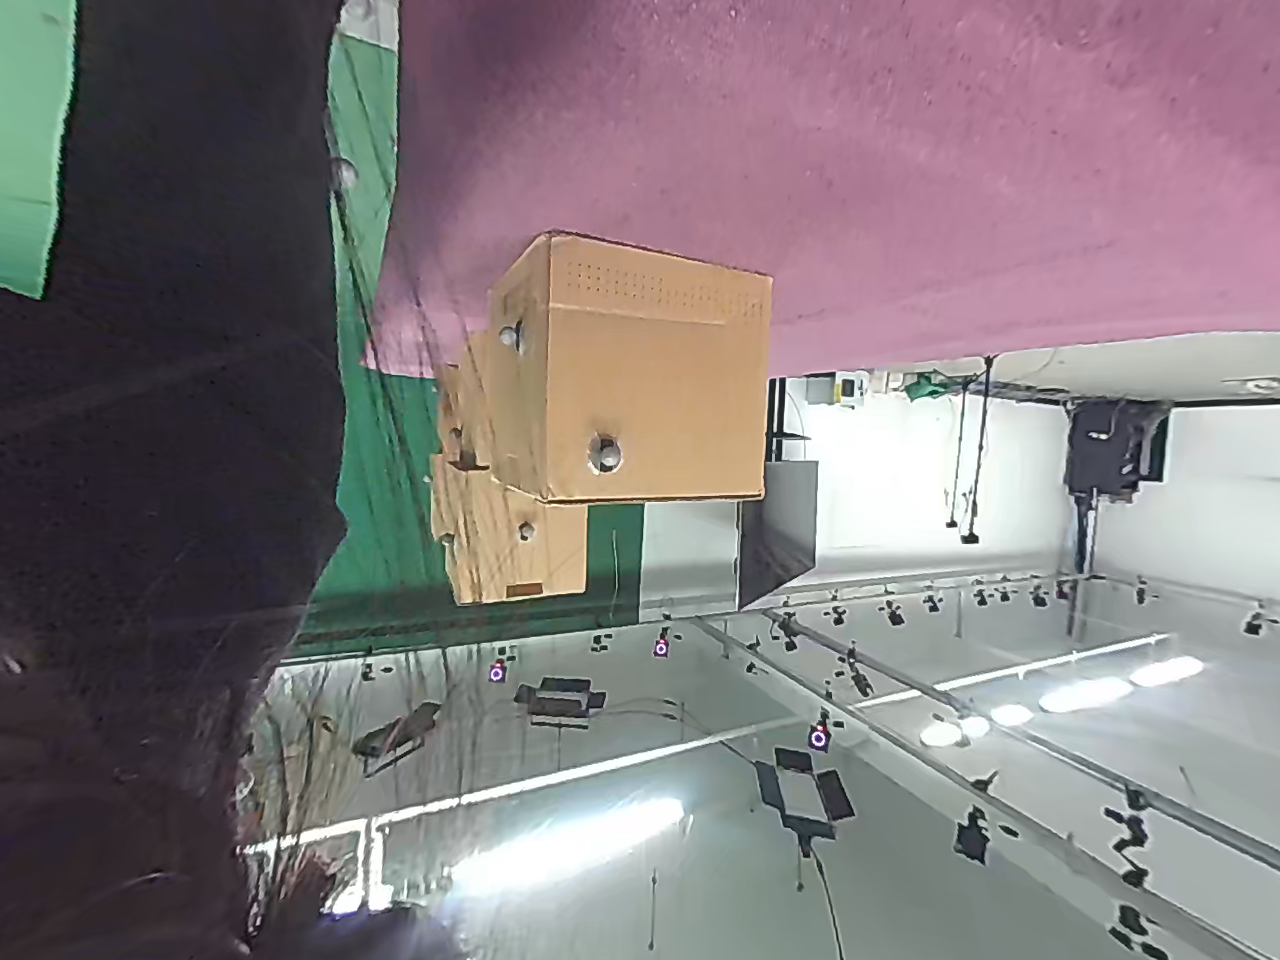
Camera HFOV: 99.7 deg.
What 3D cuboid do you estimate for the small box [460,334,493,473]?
[{"bbox_3d":[-0.154,-0.099,0.750,0.168,0.176,0.179,-1,-175,-25],"label":"small box"}]

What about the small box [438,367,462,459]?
[{"bbox_3d":[-0.305,-0.131,1.083,0.179,0.176,0.168,-1,-176,-24],"label":"small box"}]

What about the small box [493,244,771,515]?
[{"bbox_3d":[-0.013,-0.072,0.429,0.179,0.176,0.168,0,-175,-26],"label":"small box"}]

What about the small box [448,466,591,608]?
[{"bbox_3d":[-0.173,0.064,0.751,0.168,0.176,0.179,0,-176,-24],"label":"small box"}]

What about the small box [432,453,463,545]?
[{"bbox_3d":[-0.327,0.031,1.105,0.179,0.176,0.168,-1,-177,-24],"label":"small box"}]
